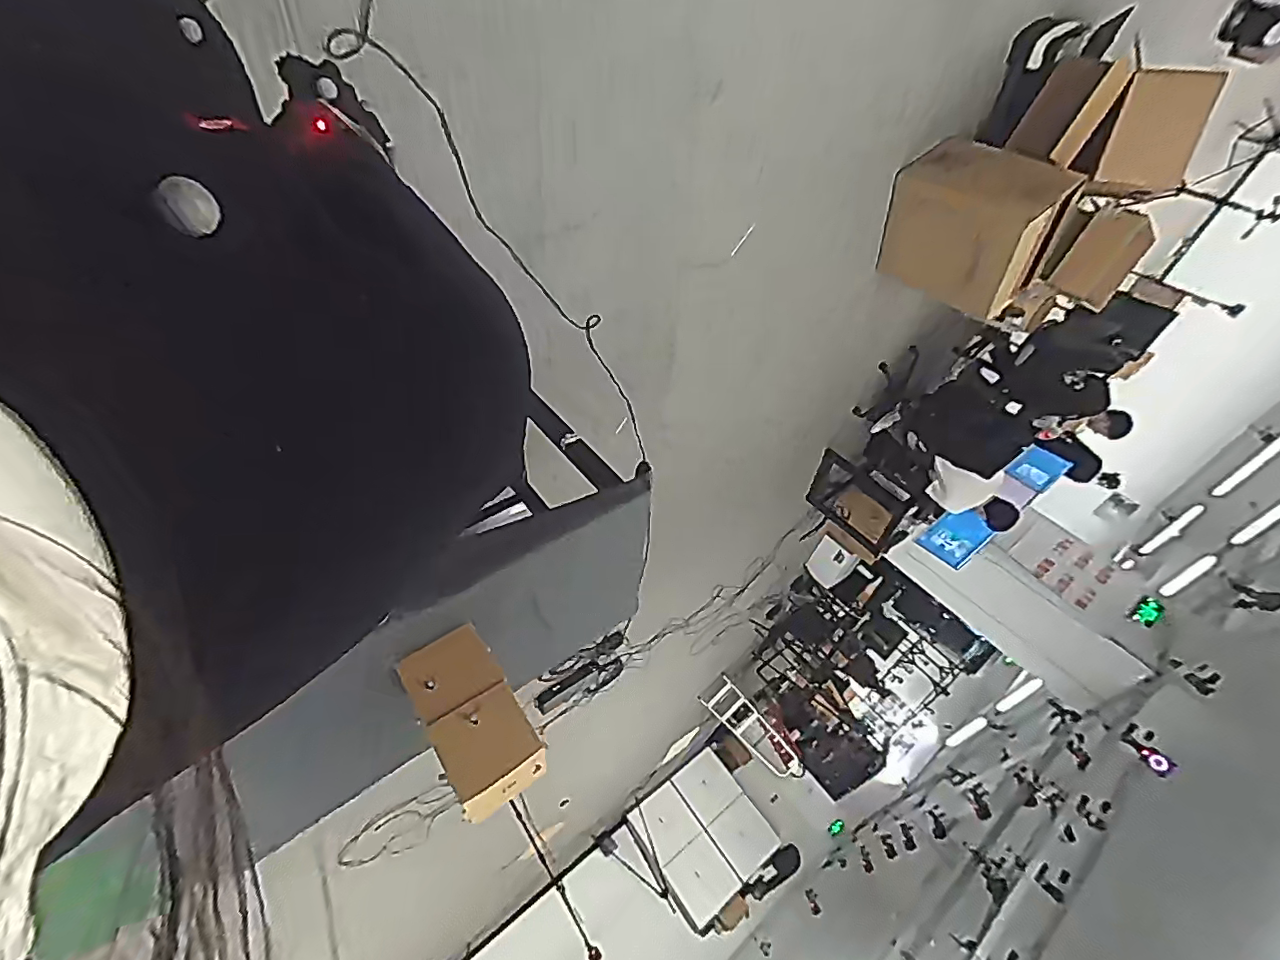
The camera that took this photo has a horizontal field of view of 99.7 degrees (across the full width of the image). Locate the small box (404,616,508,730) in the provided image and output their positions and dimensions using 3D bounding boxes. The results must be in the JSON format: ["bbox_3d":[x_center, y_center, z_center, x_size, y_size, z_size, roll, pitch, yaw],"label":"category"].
[{"bbox_3d":[-0.405,0.441,1.206,0.179,0.176,0.168,-29,148,-28],"label":"small box"}]

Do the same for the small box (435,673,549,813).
[{"bbox_3d":[-0.307,0.540,1.120,0.179,0.176,0.168,-26,146,-28],"label":"small box"}]
